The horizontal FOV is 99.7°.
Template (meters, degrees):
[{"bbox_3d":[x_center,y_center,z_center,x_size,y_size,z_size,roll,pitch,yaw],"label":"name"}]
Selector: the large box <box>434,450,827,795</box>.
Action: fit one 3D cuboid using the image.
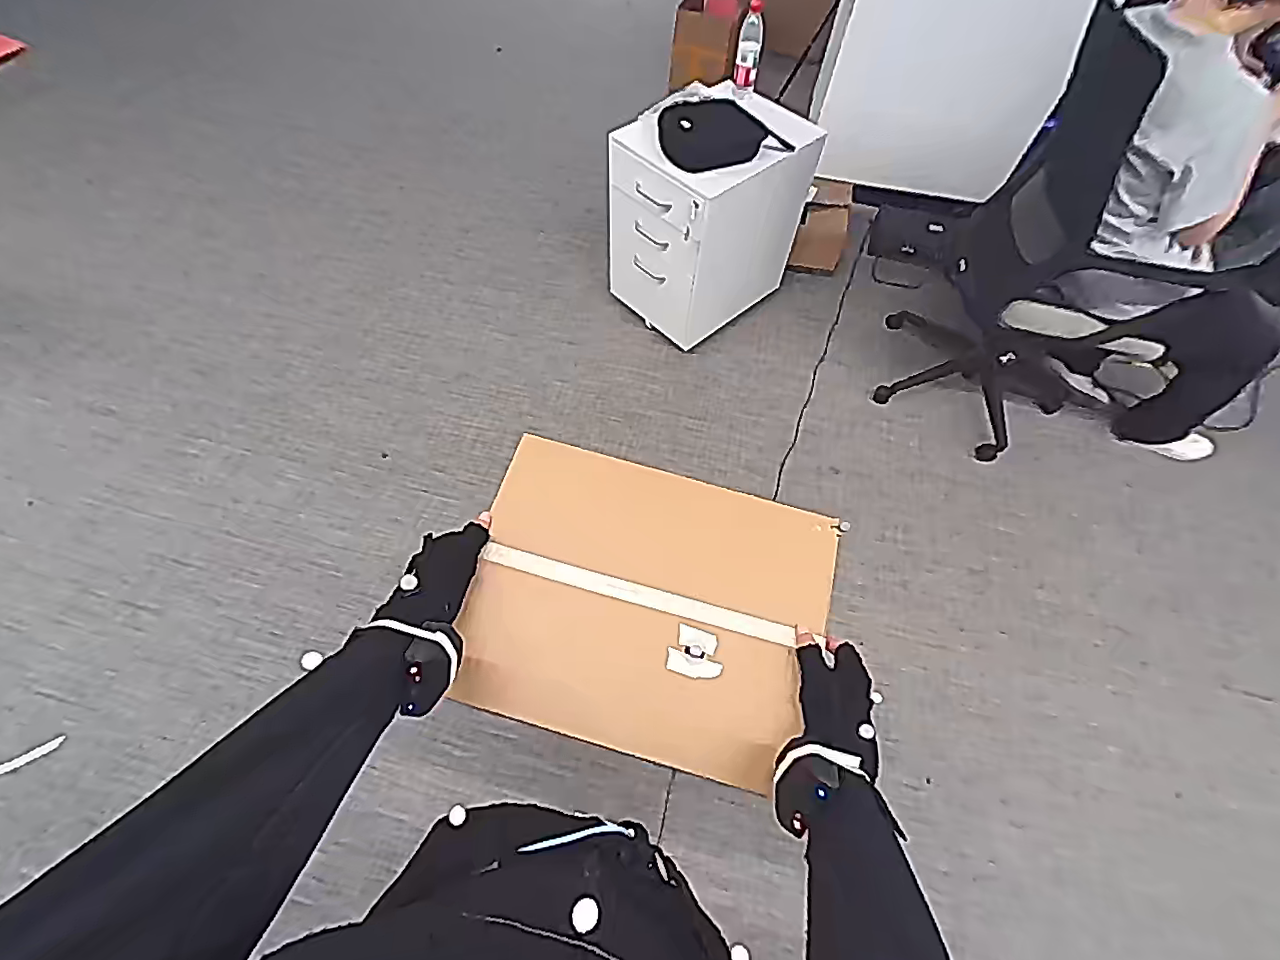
[{"bbox_3d":[-0.005,0.204,0.758,0.408,0.320,0.320,16,66,2],"label":"large box"}]
